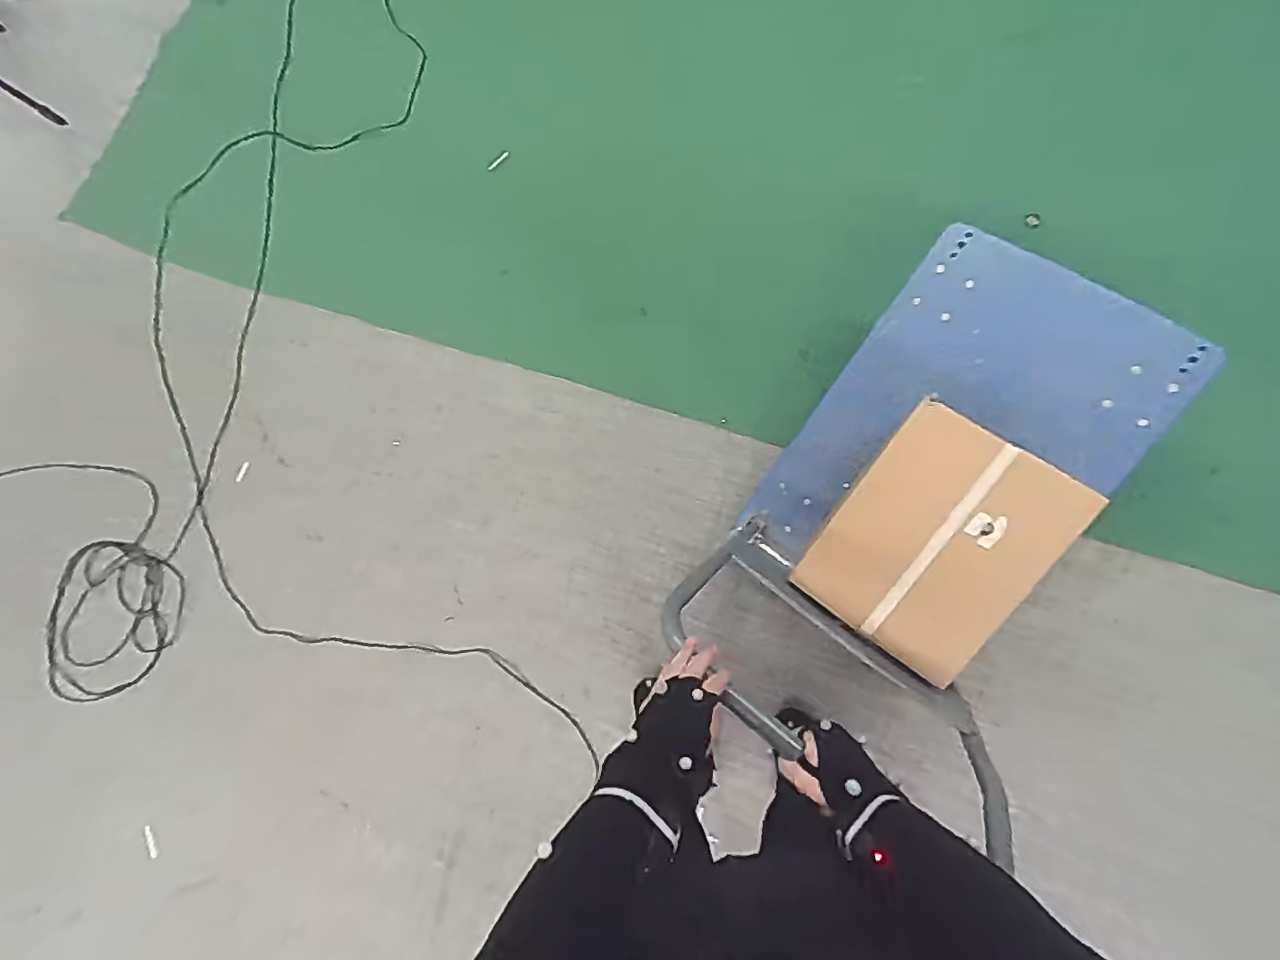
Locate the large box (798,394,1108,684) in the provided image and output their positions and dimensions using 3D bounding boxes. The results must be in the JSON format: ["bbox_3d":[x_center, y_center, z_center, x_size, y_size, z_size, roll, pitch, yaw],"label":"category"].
[{"bbox_3d":[0.559,0.103,1.057,0.320,0.320,0.408,37,101,16],"label":"large box"}]
